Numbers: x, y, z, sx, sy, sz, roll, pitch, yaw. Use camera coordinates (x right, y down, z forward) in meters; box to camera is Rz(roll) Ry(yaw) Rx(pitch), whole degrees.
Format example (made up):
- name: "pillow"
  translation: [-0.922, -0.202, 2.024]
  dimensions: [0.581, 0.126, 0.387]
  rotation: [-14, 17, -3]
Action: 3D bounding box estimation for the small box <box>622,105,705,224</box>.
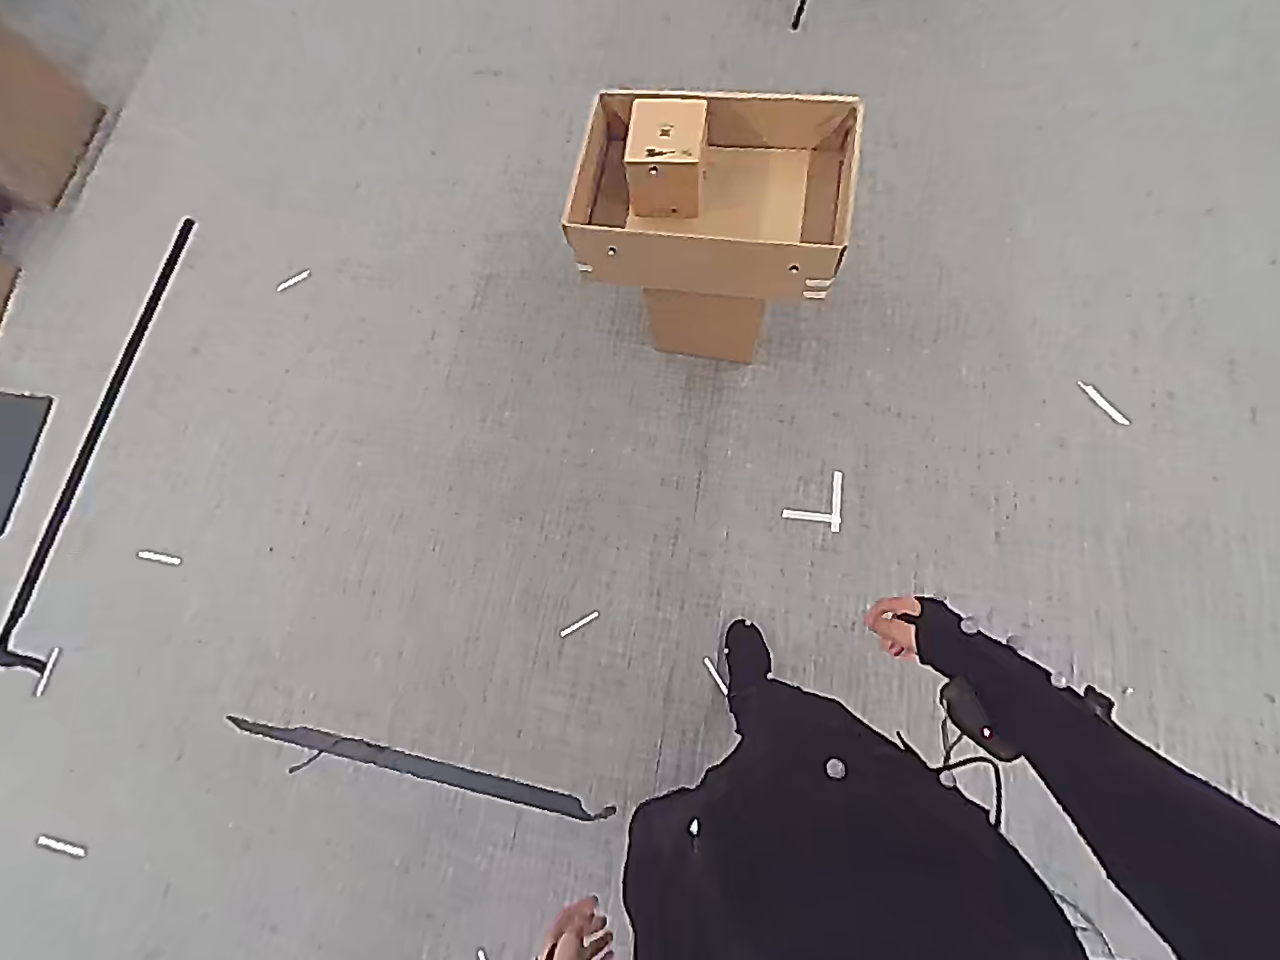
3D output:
- name: "small box"
  translation: [0.060, -0.739, 1.273]
  dimensions: [0.168, 0.176, 0.179]
  rotation: [6, 75, 8]
